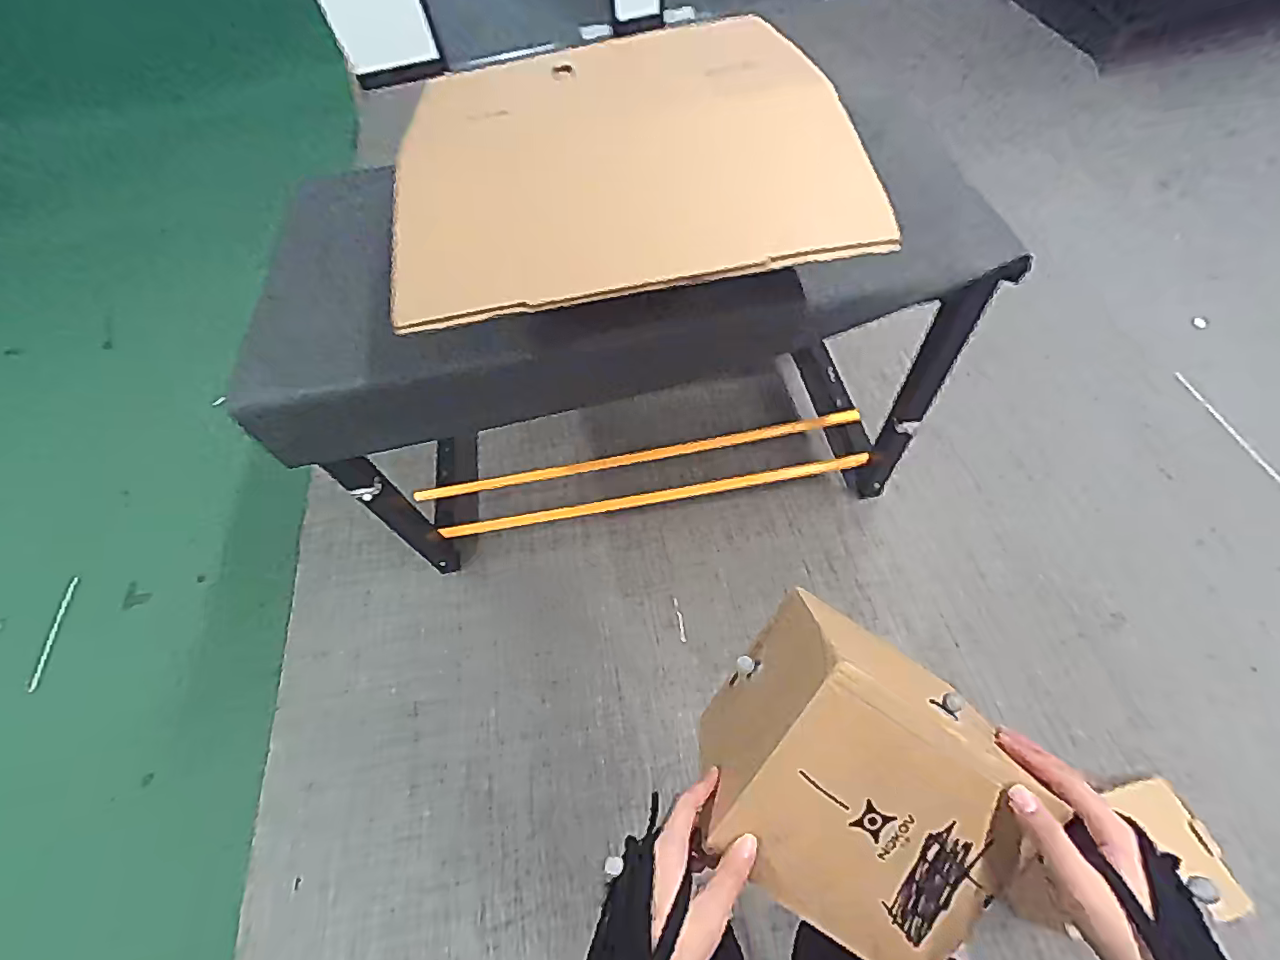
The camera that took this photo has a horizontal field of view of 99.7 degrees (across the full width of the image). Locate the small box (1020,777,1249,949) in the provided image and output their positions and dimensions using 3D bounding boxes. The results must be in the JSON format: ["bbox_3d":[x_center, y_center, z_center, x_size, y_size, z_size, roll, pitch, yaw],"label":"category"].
[{"bbox_3d":[0.715,0.568,0.821,0.179,0.176,0.168,-16,57,-3],"label":"small box"}]

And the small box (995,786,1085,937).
[{"bbox_3d":[0.727,0.663,0.954,0.168,0.176,0.179,-16,58,-3],"label":"small box"}]

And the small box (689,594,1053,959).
[{"bbox_3d":[0.156,0.217,0.433,0.179,0.176,0.168,33,97,2],"label":"small box"}]
